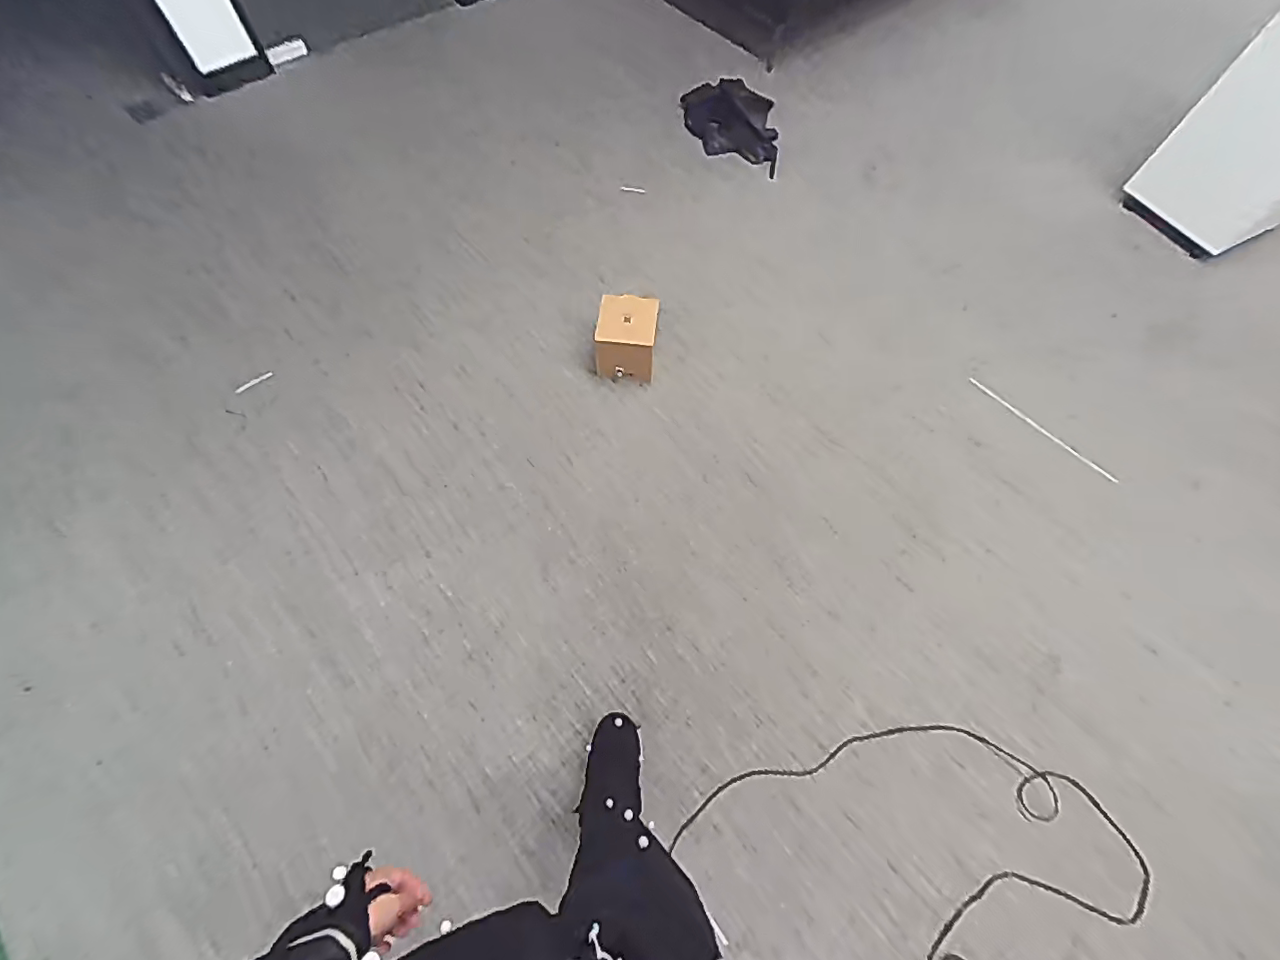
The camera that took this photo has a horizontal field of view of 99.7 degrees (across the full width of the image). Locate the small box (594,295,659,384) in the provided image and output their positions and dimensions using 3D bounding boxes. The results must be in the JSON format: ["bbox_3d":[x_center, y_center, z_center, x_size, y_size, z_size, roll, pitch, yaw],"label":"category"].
[{"bbox_3d":[-0.037,-0.405,1.568,0.168,0.176,0.179,5,64,2],"label":"small box"}]
